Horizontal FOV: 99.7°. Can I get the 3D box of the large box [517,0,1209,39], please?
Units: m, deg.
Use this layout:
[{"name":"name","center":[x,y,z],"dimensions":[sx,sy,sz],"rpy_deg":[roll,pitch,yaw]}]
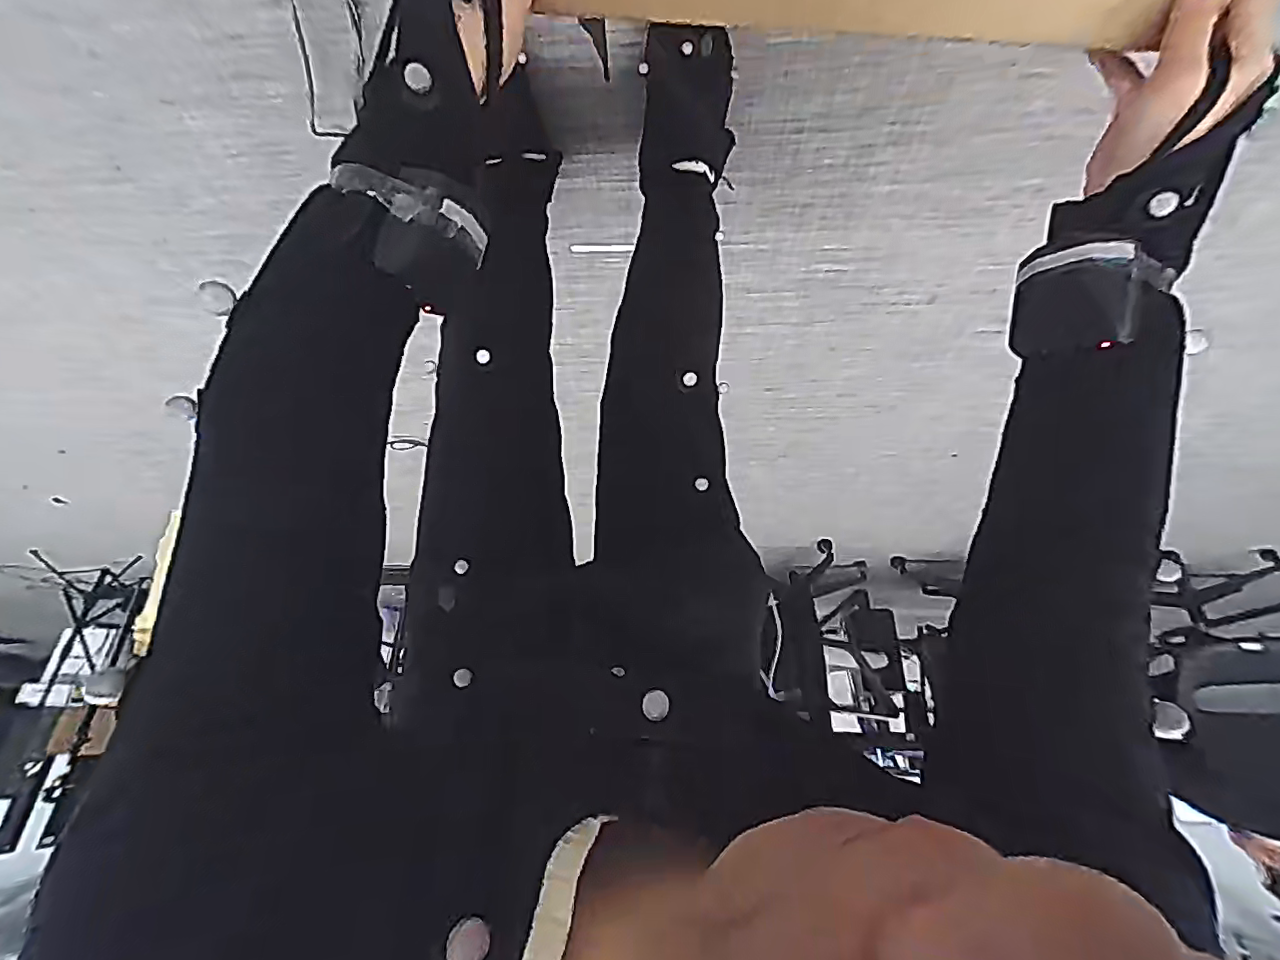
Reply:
[{"name":"large box","center":[0.133,-0.481,0.302],"dimensions":[0.408,0.320,0.320],"rpy_deg":[4,141,2]}]
